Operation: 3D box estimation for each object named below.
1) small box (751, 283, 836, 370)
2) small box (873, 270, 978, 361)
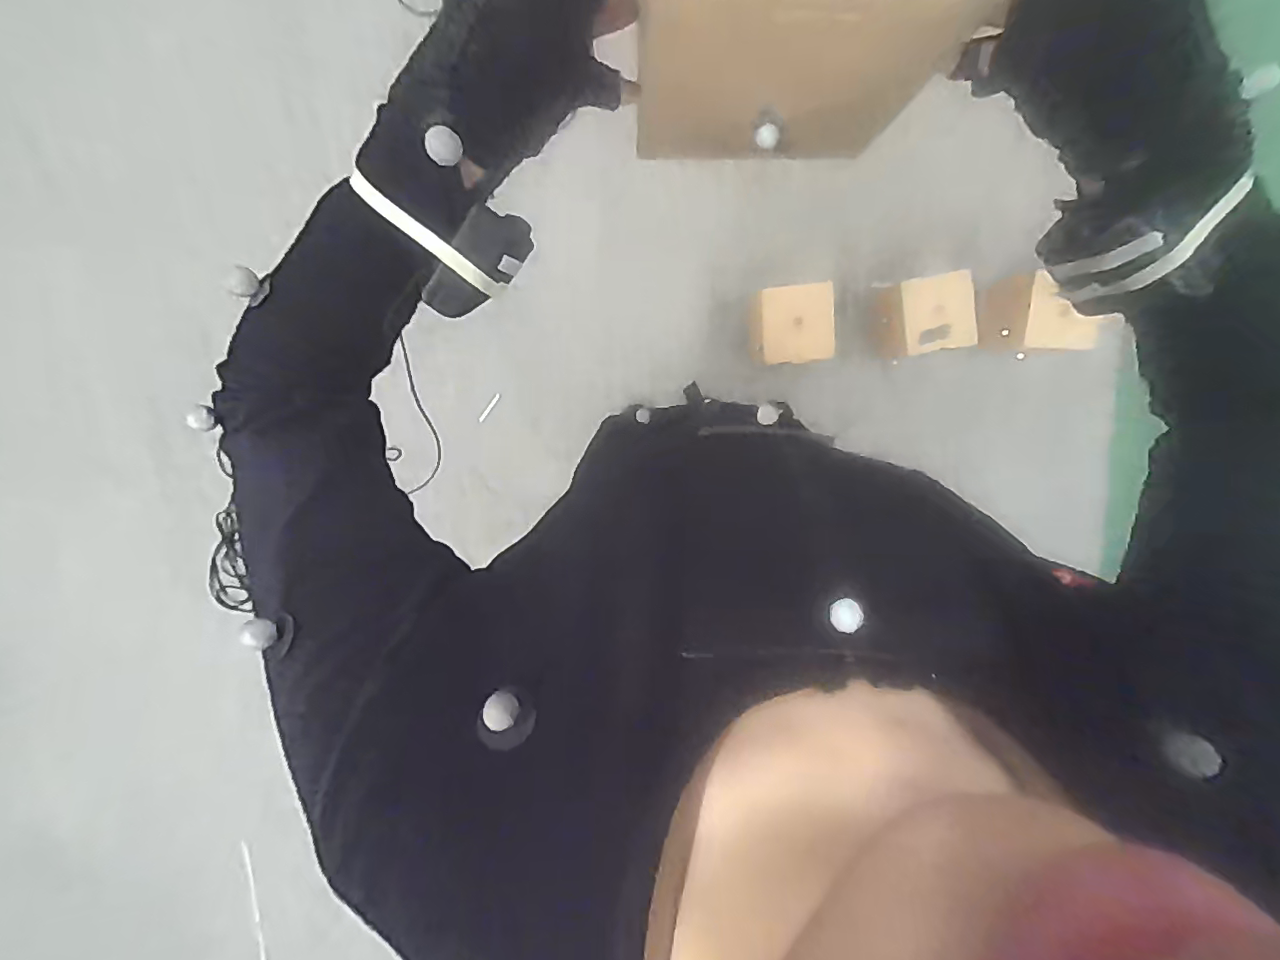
[{"bbox_3d":[0.371,-0.370,1.331,0.168,0.176,0.179,-5,98,3],"label":"small box"},{"bbox_3d":[0.688,-0.390,1.318,0.168,0.176,0.179,-9,97,3],"label":"small box"}]
